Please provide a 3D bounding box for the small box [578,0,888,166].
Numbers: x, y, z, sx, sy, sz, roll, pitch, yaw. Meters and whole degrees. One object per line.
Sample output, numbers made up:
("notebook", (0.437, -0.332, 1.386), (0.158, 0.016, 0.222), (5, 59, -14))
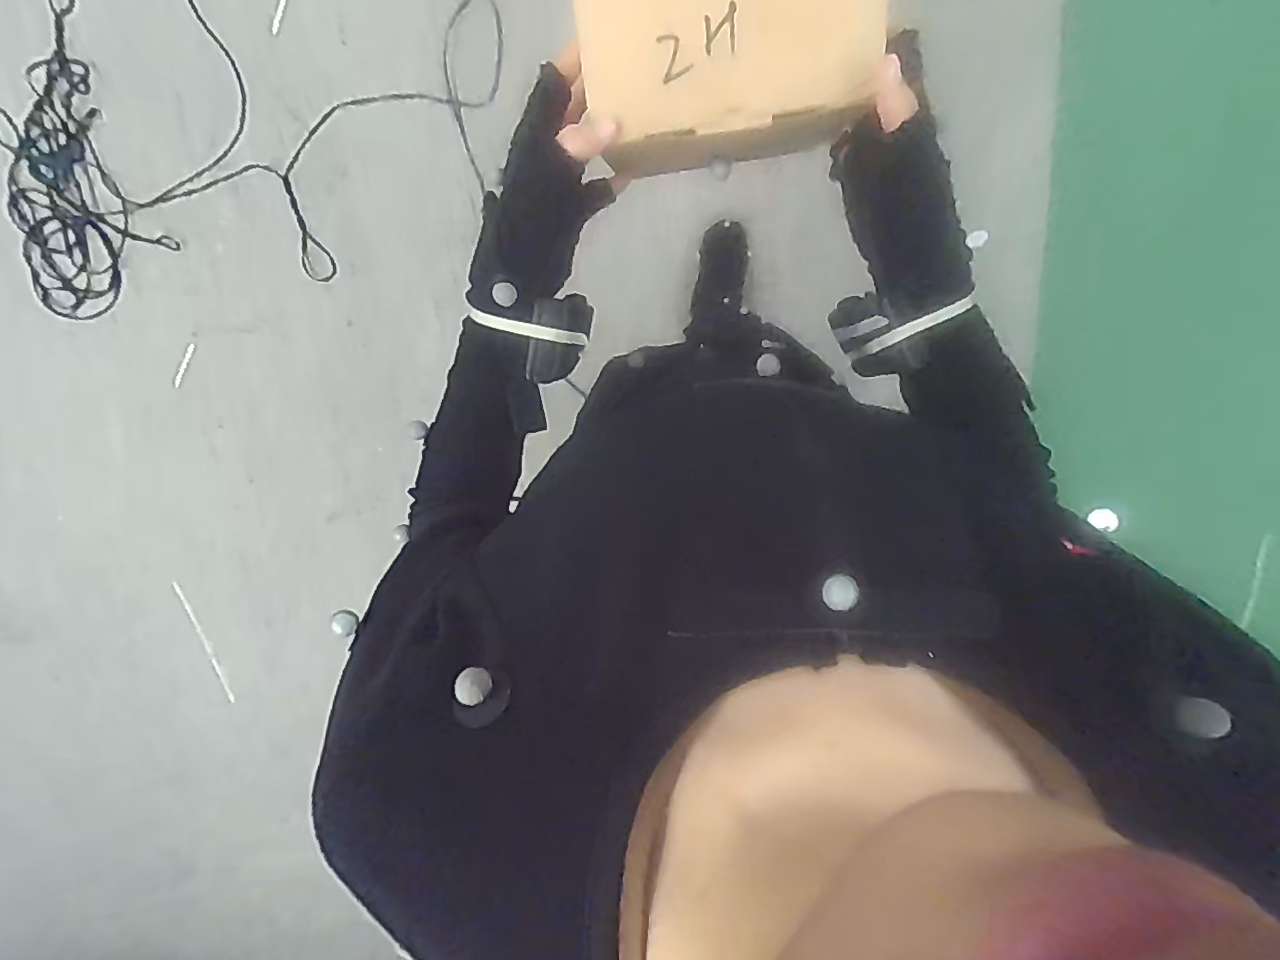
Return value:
("small box", (0.048, -0.323, 0.346), (0.168, 0.176, 0.179), (-5, 111, 7))
